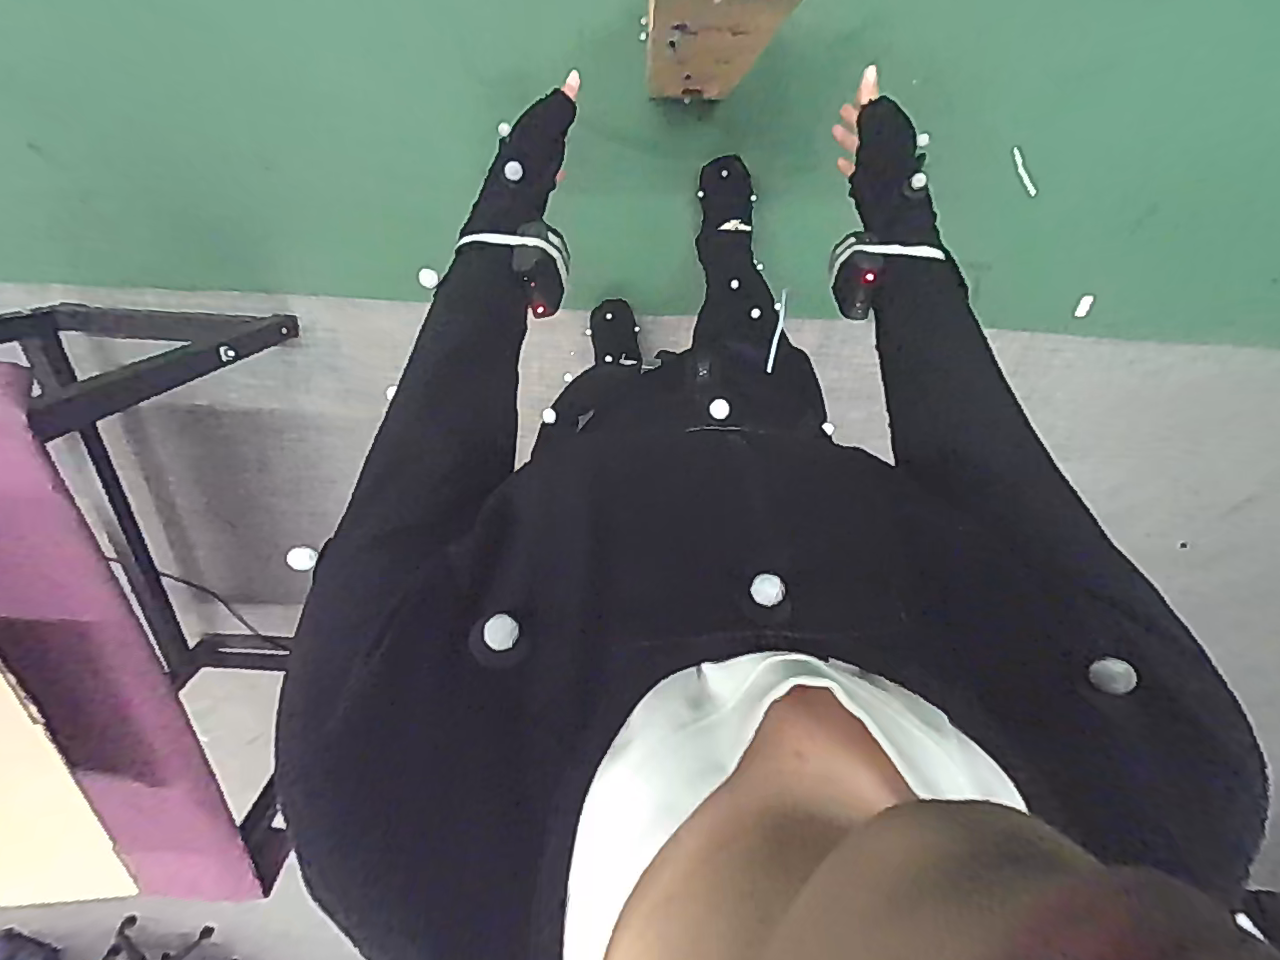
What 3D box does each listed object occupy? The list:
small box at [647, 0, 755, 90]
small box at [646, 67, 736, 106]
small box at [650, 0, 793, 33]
[{"bbox_3d":[0.096,-0.763,0.886,0.168,0.176,0.179,0,118,0],"label":"small box"},{"bbox_3d":[0.098,-0.837,1.031,0.168,0.176,0.179,2,117,0],"label":"small box"},{"bbox_3d":[0.094,-0.616,0.592,0.168,0.176,0.179,-1,117,0],"label":"small box"}]
